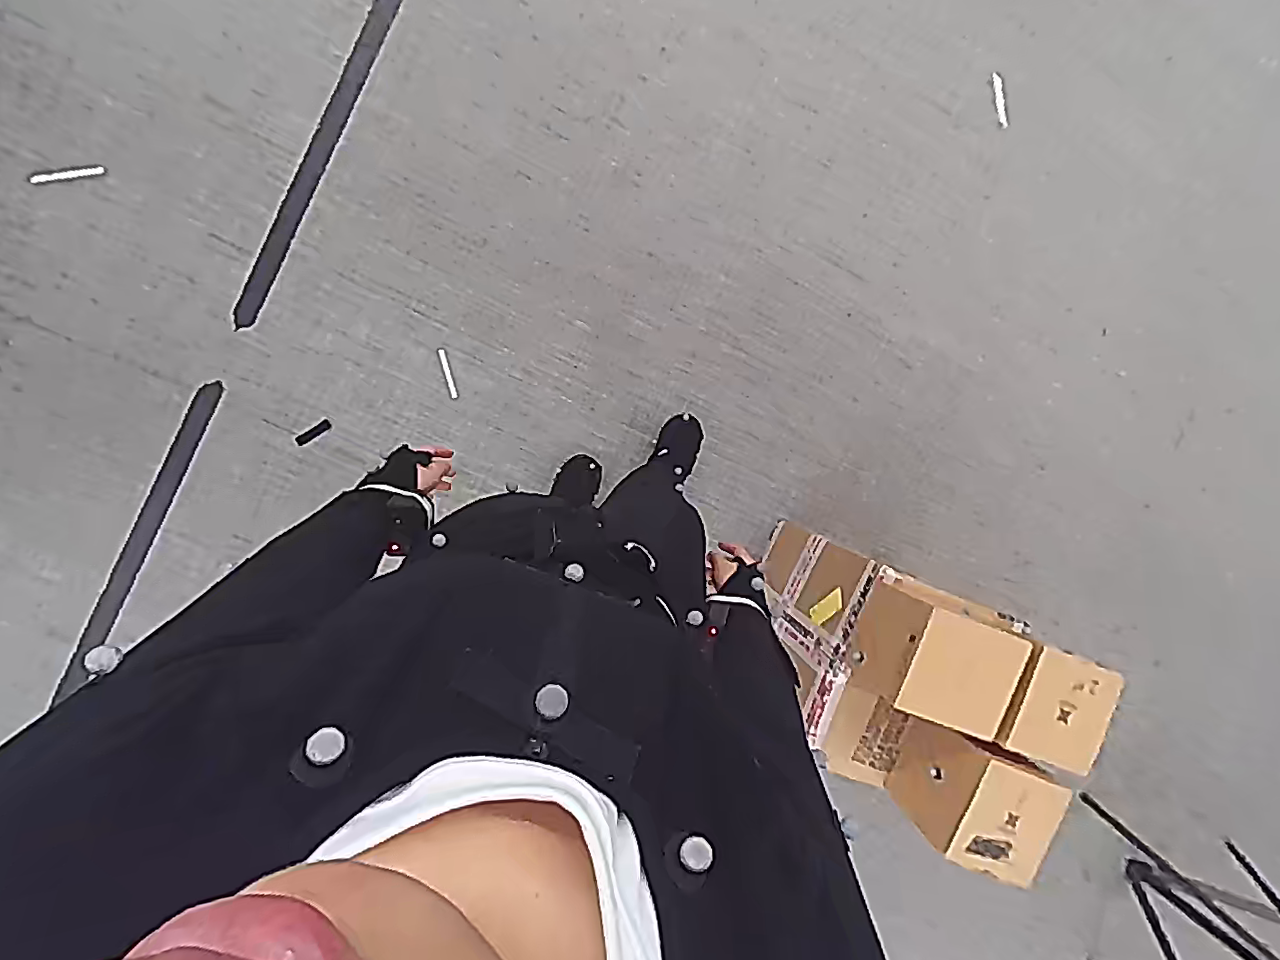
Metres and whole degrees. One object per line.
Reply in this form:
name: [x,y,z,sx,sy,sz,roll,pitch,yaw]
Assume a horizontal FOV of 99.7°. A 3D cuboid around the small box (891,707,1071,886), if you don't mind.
small box: [0.567,0.532,0.928,0.168,0.176,0.179,24,93,-8]
